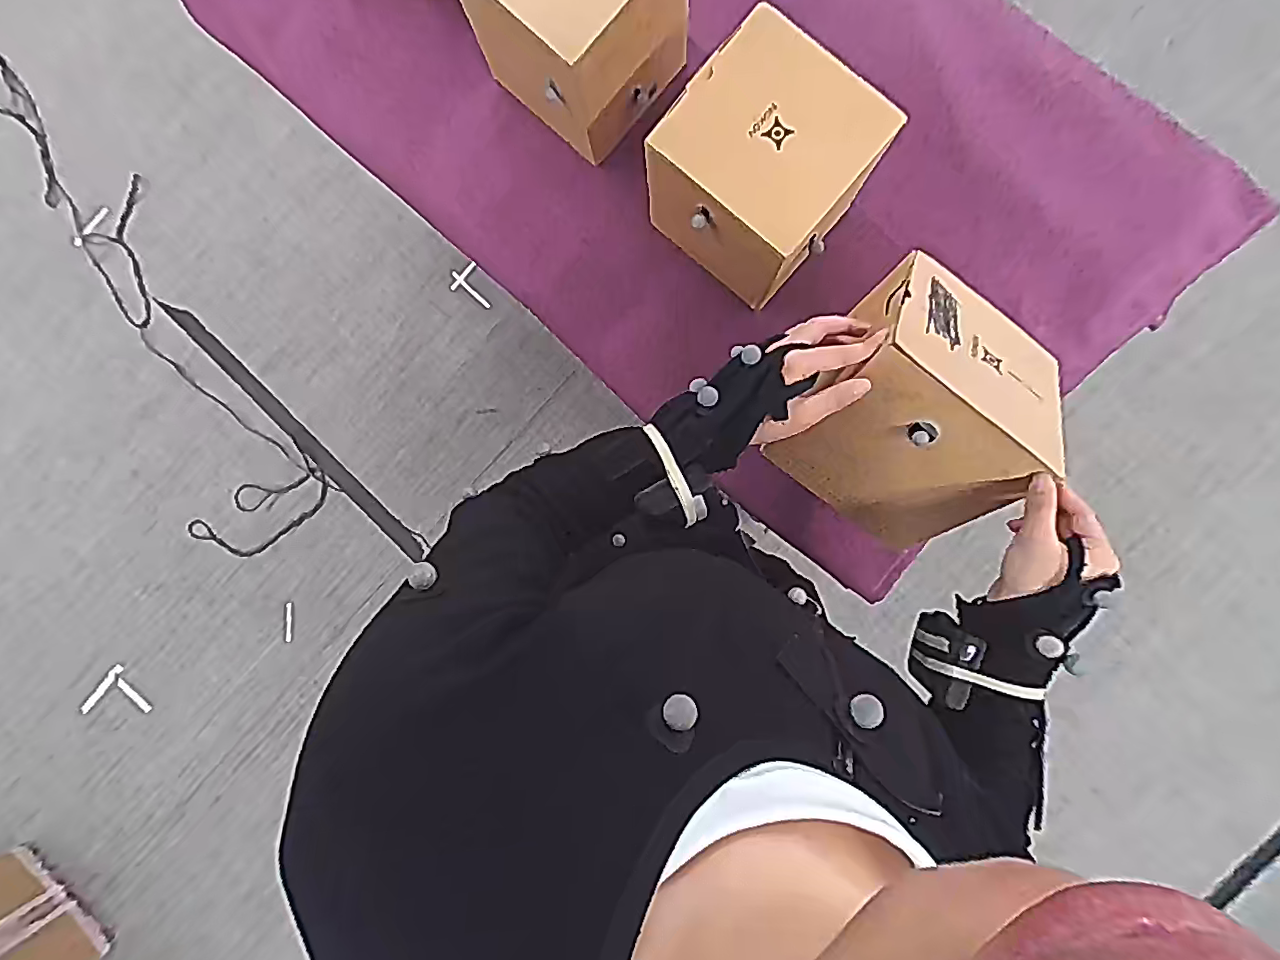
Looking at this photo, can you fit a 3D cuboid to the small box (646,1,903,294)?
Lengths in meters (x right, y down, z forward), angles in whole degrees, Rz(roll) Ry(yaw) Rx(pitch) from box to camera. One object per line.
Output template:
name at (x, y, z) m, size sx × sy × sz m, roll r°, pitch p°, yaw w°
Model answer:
small box at (0.128, -0.323, 0.573) m, size 0.179 × 0.176 × 0.168 m, roll 41°, pitch 93°, yaw 3°

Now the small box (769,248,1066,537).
small box at (0.251, -0.073, 0.514) m, size 0.179 × 0.176 × 0.168 m, roll 36°, pitch 52°, yaw -7°
